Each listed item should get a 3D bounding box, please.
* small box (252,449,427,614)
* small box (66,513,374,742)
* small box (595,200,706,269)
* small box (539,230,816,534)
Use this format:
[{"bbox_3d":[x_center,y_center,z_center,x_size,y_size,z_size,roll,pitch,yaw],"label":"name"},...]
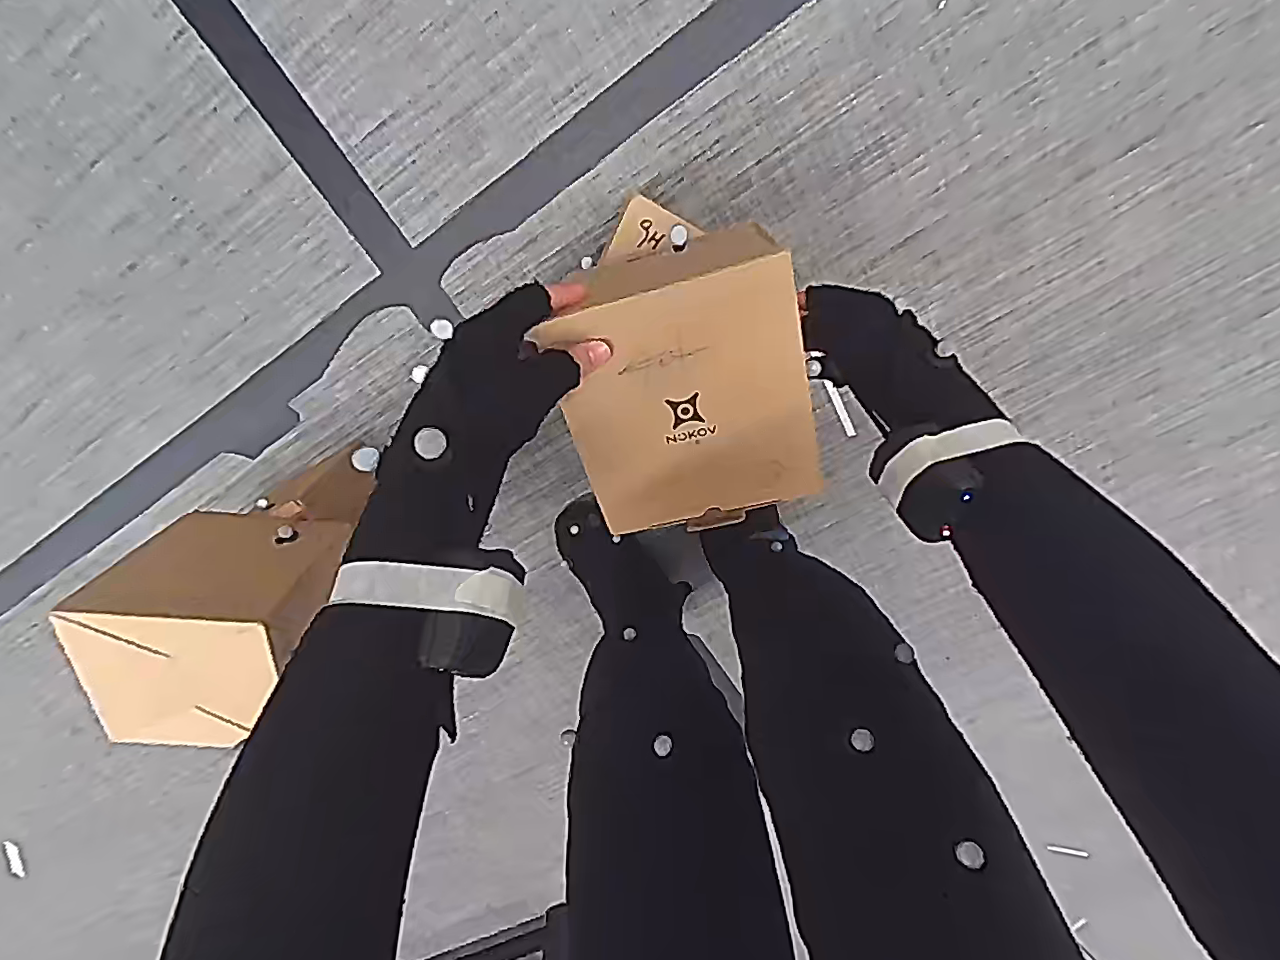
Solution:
[{"bbox_3d":[-0.412,0.084,0.722,0.179,0.176,0.168,-27,115,12],"label":"small box"},{"bbox_3d":[-0.412,0.152,0.568,0.179,0.176,0.168,4,117,-4],"label":"small box"},{"bbox_3d":[0.024,-0.184,0.601,0.168,0.176,0.179,24,114,-16],"label":"small box"},{"bbox_3d":[0.038,-0.084,0.444,0.168,0.176,0.179,-12,120,10],"label":"small box"}]
